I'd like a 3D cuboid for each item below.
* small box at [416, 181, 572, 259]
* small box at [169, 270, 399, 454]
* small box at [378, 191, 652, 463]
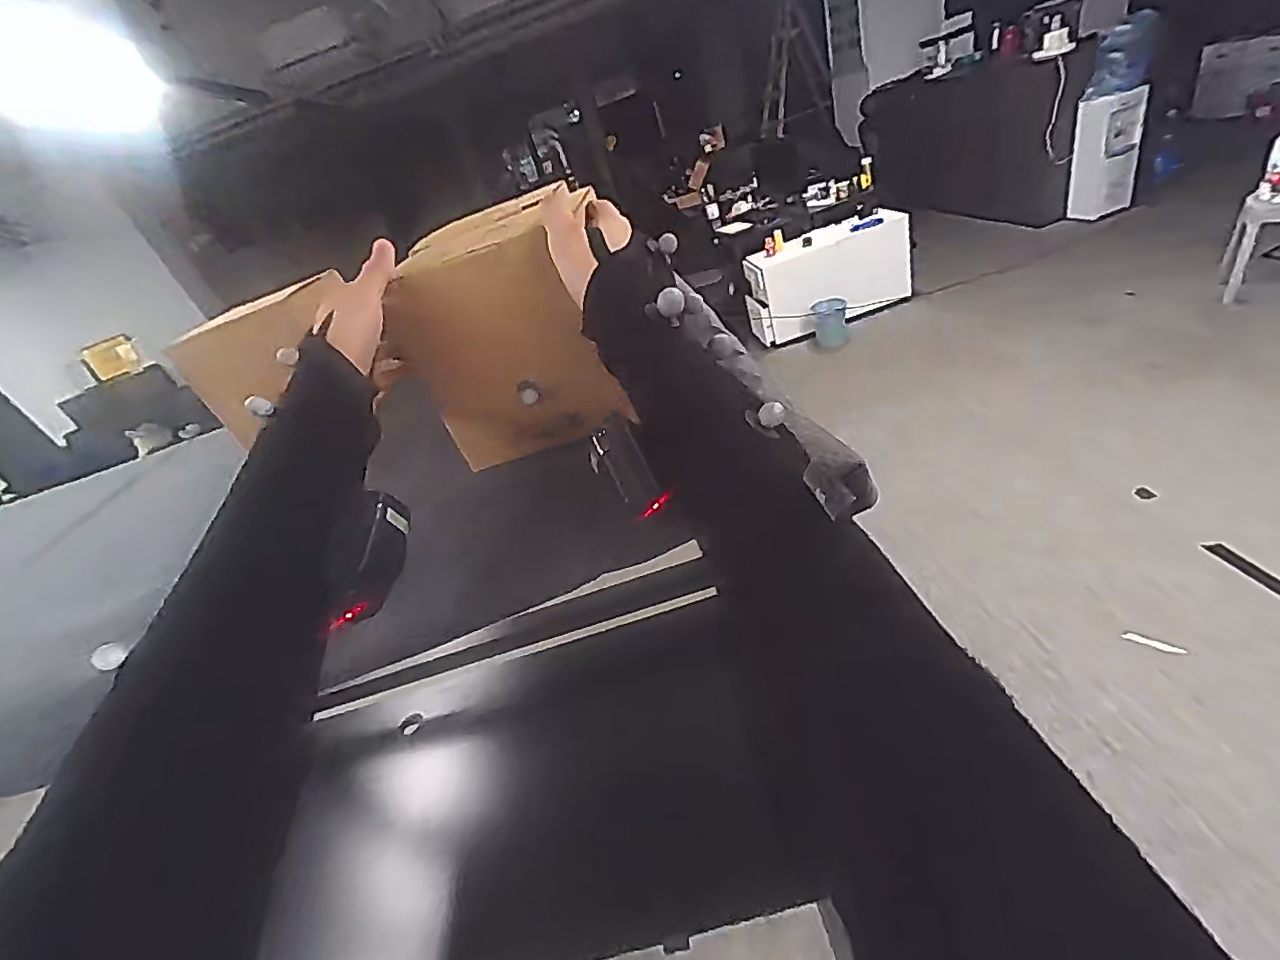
[{"bbox_3d":[-0.140,-0.243,0.673,0.168,0.176,0.179,-15,34,9],"label":"small box"},{"bbox_3d":[-0.461,-0.162,0.740,0.168,0.176,0.179,-19,33,4],"label":"small box"},{"bbox_3d":[-0.091,-0.140,0.493,0.168,0.176,0.179,-15,32,10],"label":"small box"}]
